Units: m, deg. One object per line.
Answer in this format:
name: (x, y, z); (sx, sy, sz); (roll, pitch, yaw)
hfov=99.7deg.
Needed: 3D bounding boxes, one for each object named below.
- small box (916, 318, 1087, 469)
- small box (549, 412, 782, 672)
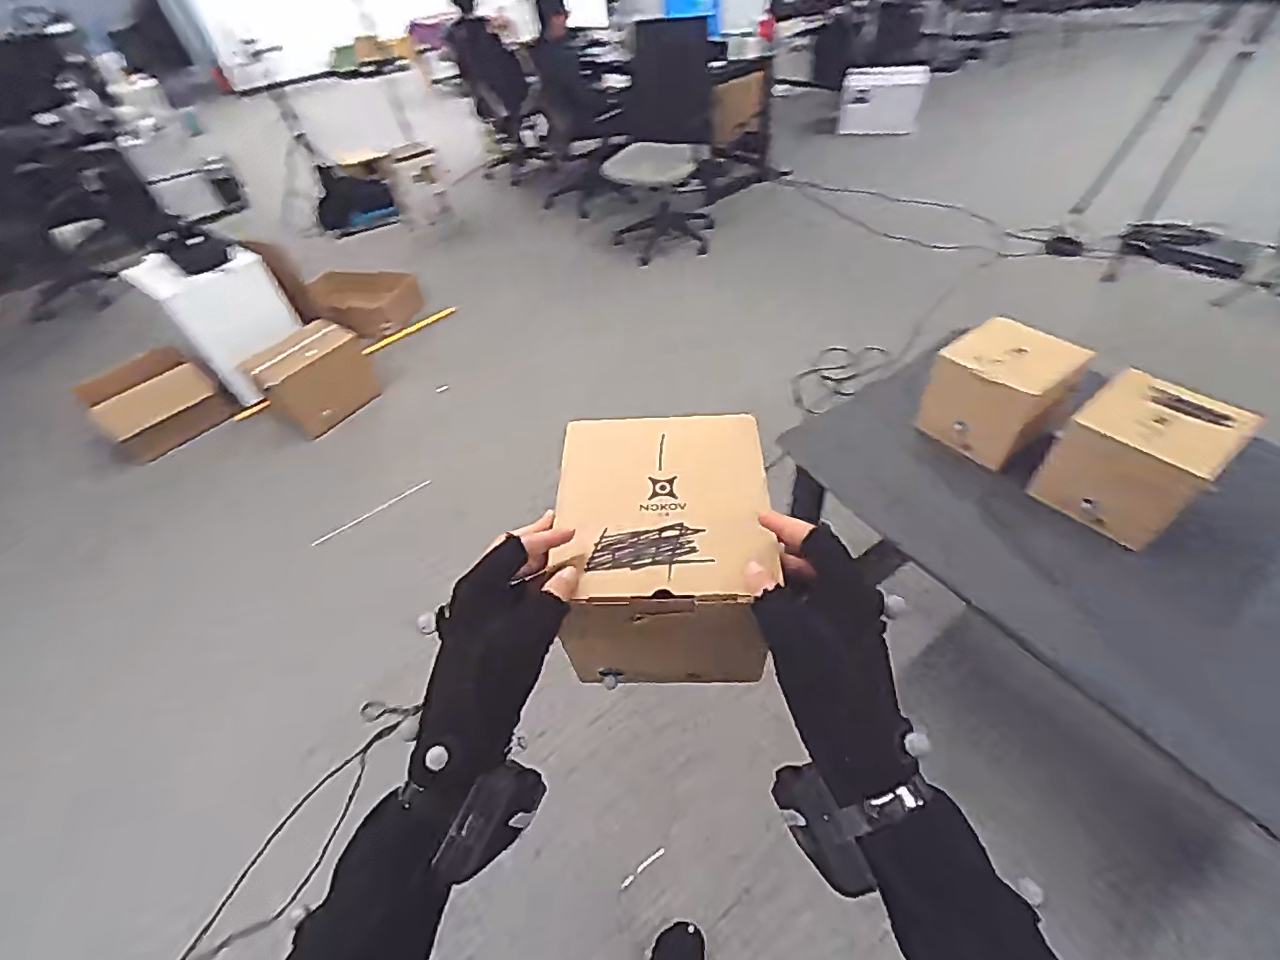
small box: (0.626, -0.154, 0.962); (0.179, 0.176, 0.168); (-31, 50, -20)
small box: (0.026, 0.061, 0.483); (0.168, 0.176, 0.179); (-1, 50, 4)
